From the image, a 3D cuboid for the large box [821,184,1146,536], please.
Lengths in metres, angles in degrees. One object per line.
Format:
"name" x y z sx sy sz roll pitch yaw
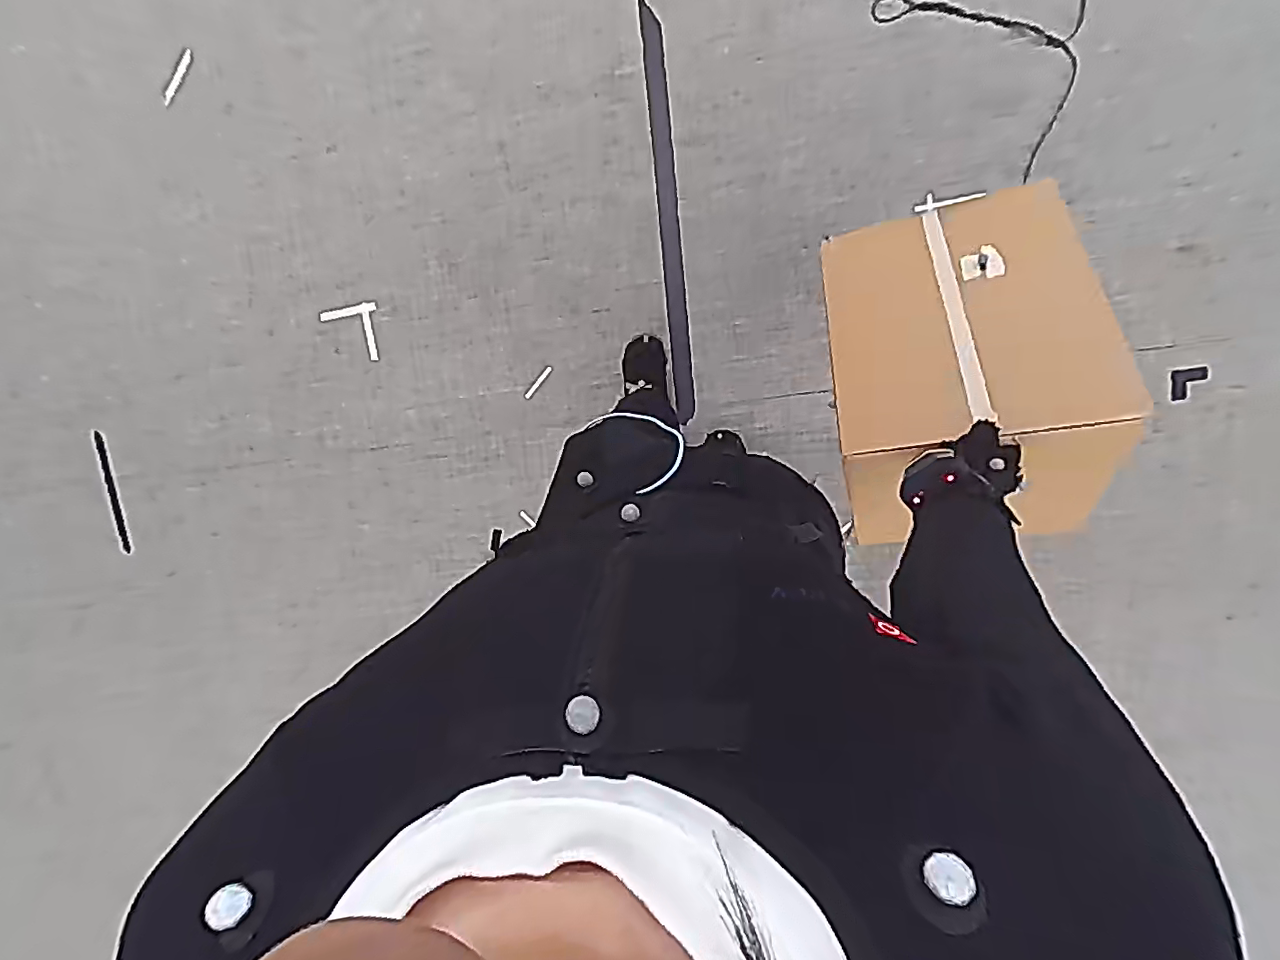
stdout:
"large box" 0.482 -0.163 0.852 0.320 0.320 0.408 -7 60 21
